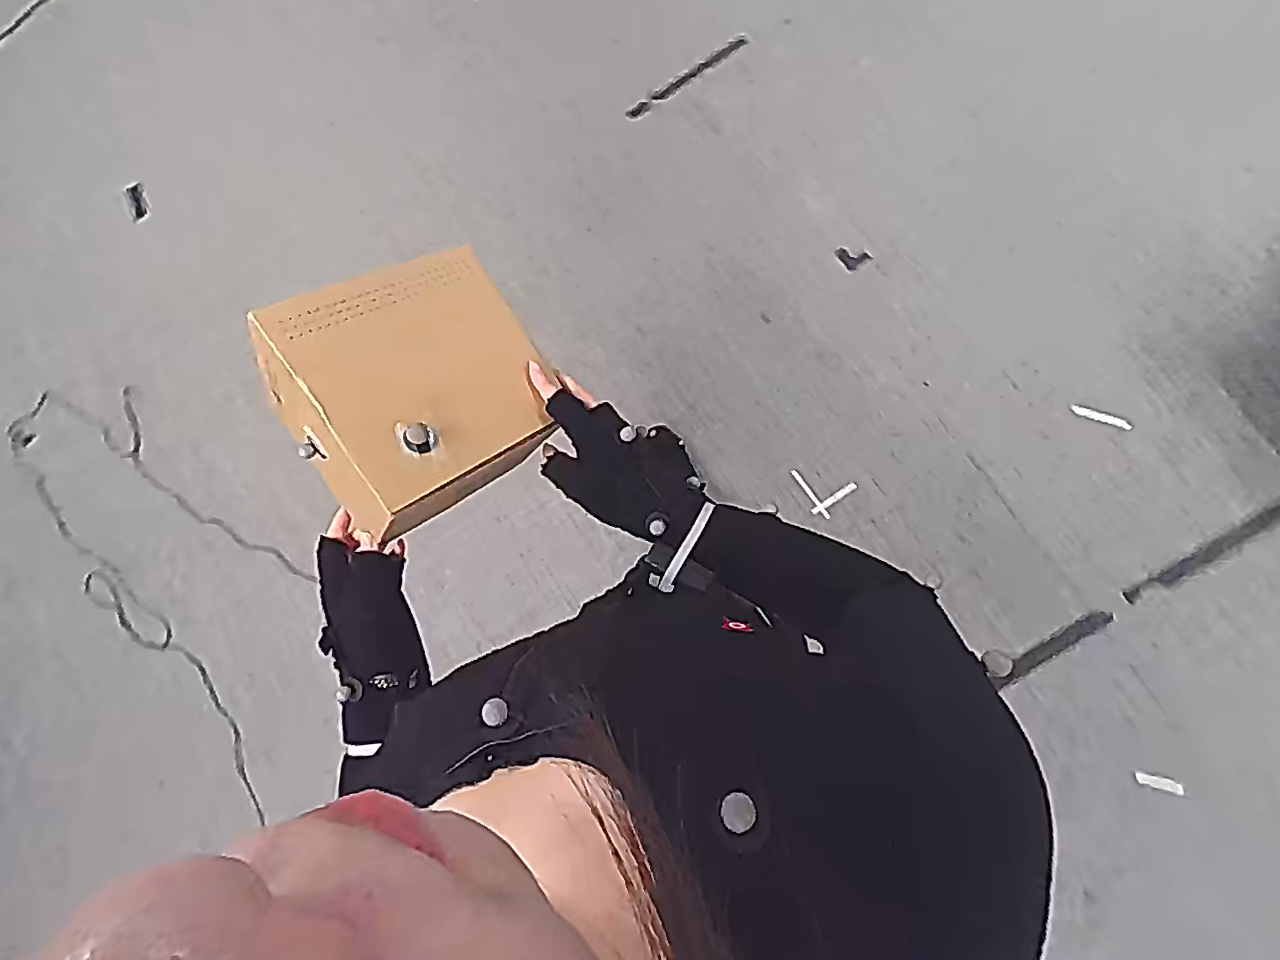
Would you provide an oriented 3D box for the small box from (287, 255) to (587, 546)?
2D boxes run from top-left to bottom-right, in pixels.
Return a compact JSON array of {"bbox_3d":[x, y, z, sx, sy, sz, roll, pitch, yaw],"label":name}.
[{"bbox_3d":[-0.186,-0.066,0.482,0.179,0.168,0.176,-35,95,-32],"label":"small box"}]
